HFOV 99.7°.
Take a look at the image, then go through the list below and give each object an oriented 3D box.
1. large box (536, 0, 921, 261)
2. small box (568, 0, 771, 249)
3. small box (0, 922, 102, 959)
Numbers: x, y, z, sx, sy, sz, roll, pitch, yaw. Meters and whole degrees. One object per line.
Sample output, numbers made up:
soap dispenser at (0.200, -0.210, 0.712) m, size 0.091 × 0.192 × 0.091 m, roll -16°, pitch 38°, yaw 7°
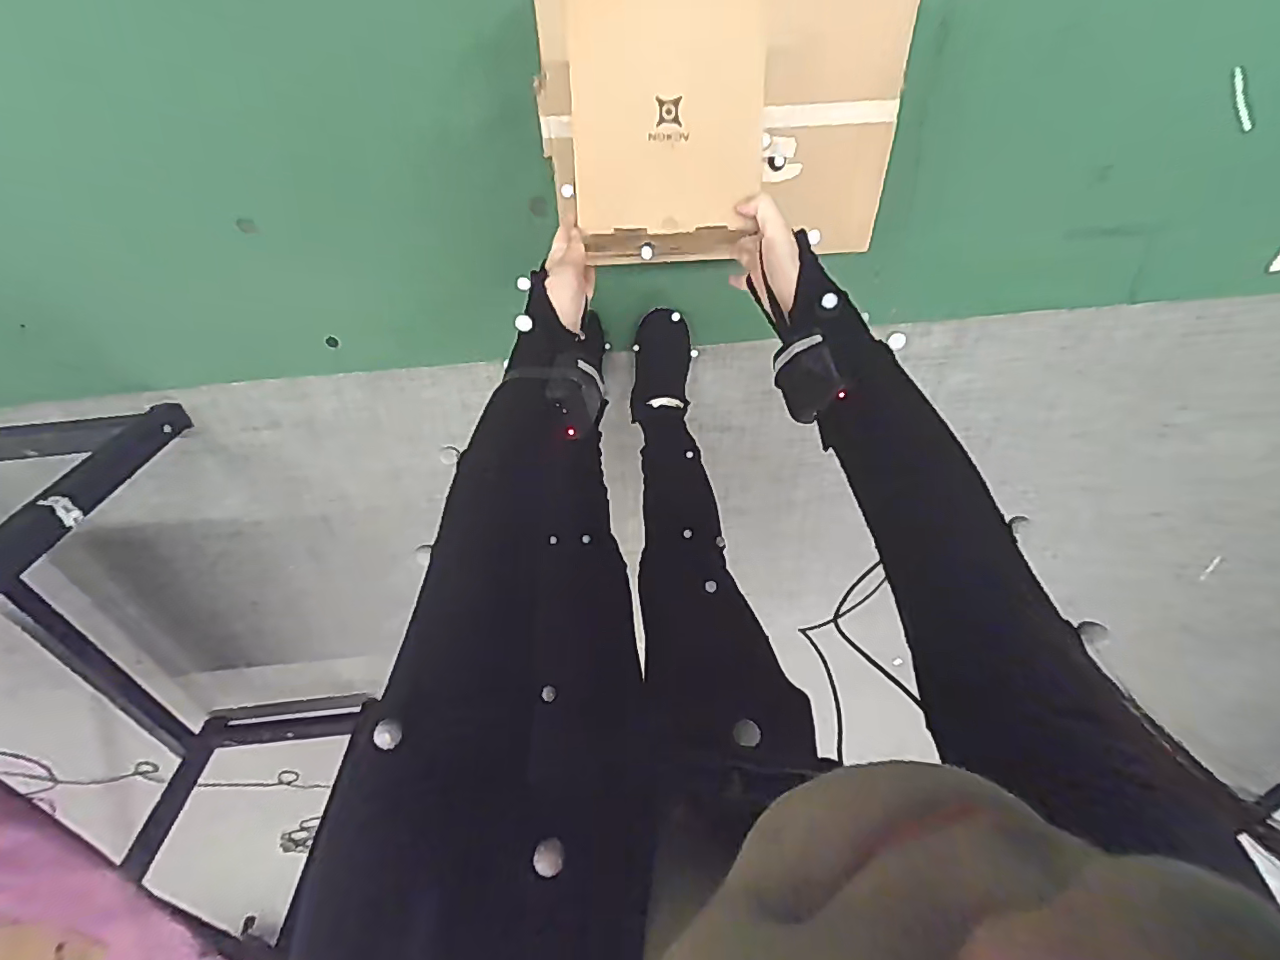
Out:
large box at (0.087, -0.508, 0.725) m, size 0.408 × 0.320 × 0.320 m, roll -4°, pitch 128°, yaw -2°
small box at (0.020, -0.328, 0.524) m, size 0.168 × 0.176 × 0.179 m, roll -3°, pitch 110°, yaw -2°
small box at (-0.978, 0.781, 0.793) m, size 0.179 × 0.176 × 0.168 m, roll -4°, pitch 128°, yaw -1°
